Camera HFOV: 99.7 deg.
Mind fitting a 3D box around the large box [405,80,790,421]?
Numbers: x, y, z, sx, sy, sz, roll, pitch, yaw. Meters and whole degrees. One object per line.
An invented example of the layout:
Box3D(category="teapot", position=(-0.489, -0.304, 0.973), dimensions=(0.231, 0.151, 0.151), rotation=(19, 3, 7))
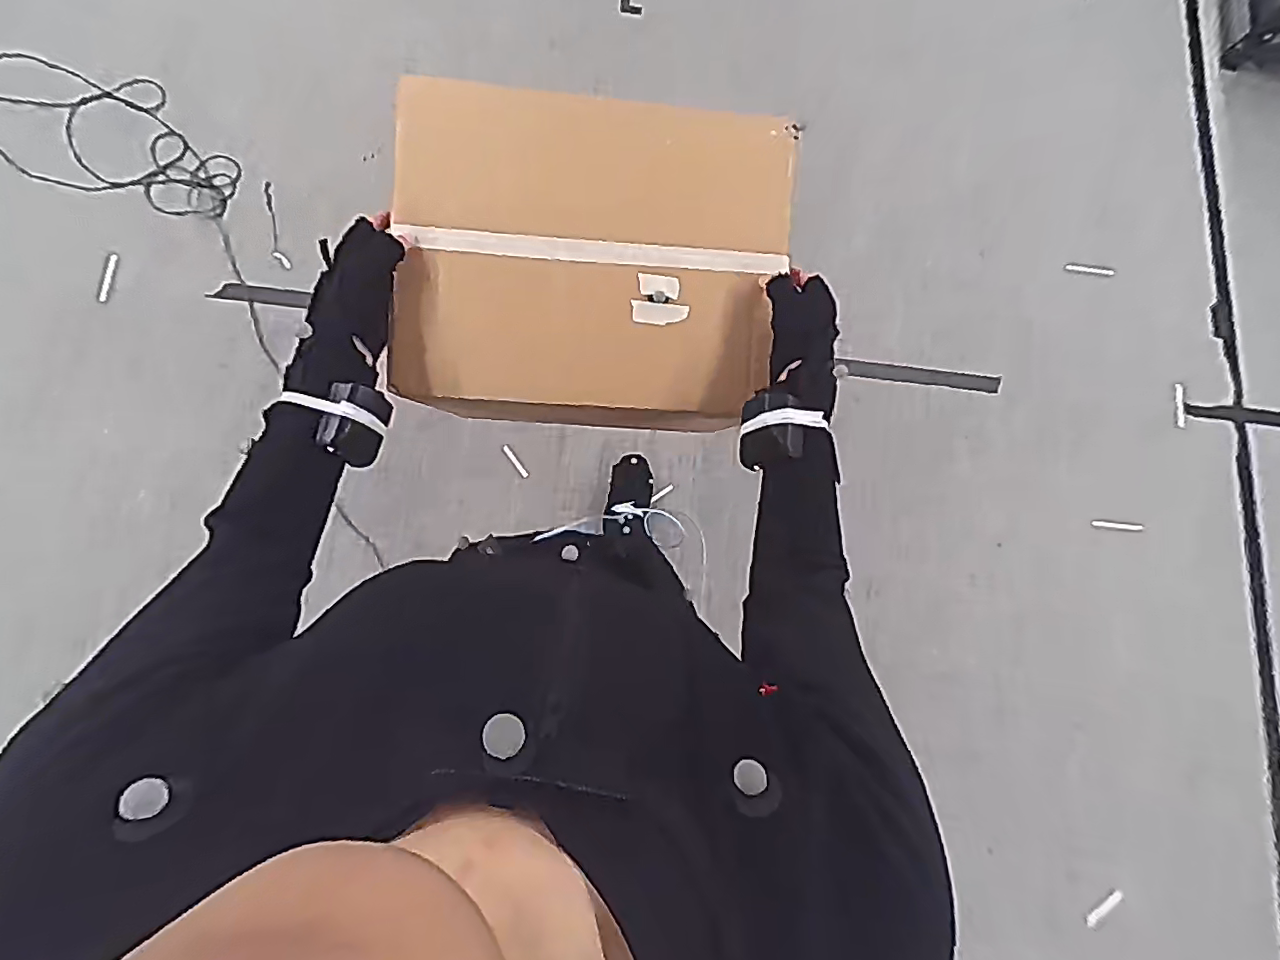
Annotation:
Box3D(category="large box", position=(-0.056, -0.250, 0.715), dimensions=(0.408, 0.320, 0.320), rotation=(3, 93, -6))
